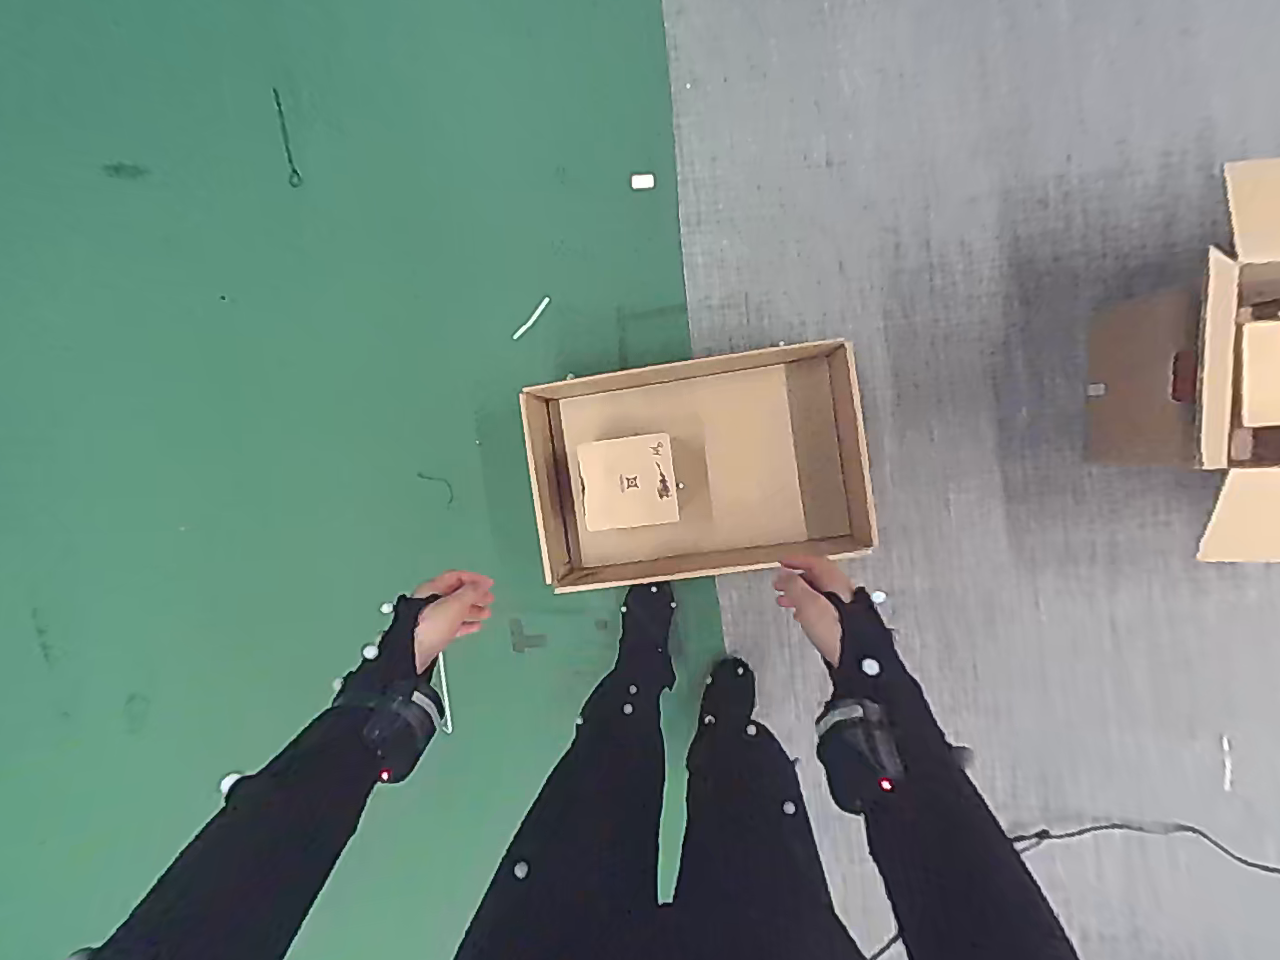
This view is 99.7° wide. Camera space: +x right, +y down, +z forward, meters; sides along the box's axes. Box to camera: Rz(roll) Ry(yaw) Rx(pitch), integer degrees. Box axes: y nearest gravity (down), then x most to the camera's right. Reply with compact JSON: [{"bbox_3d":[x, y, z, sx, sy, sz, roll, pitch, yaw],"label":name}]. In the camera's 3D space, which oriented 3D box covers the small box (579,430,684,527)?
[{"bbox_3d":[-0.009,-0.002,1.066,0.179,0.176,0.168,-7,91,6],"label":"small box"}]
